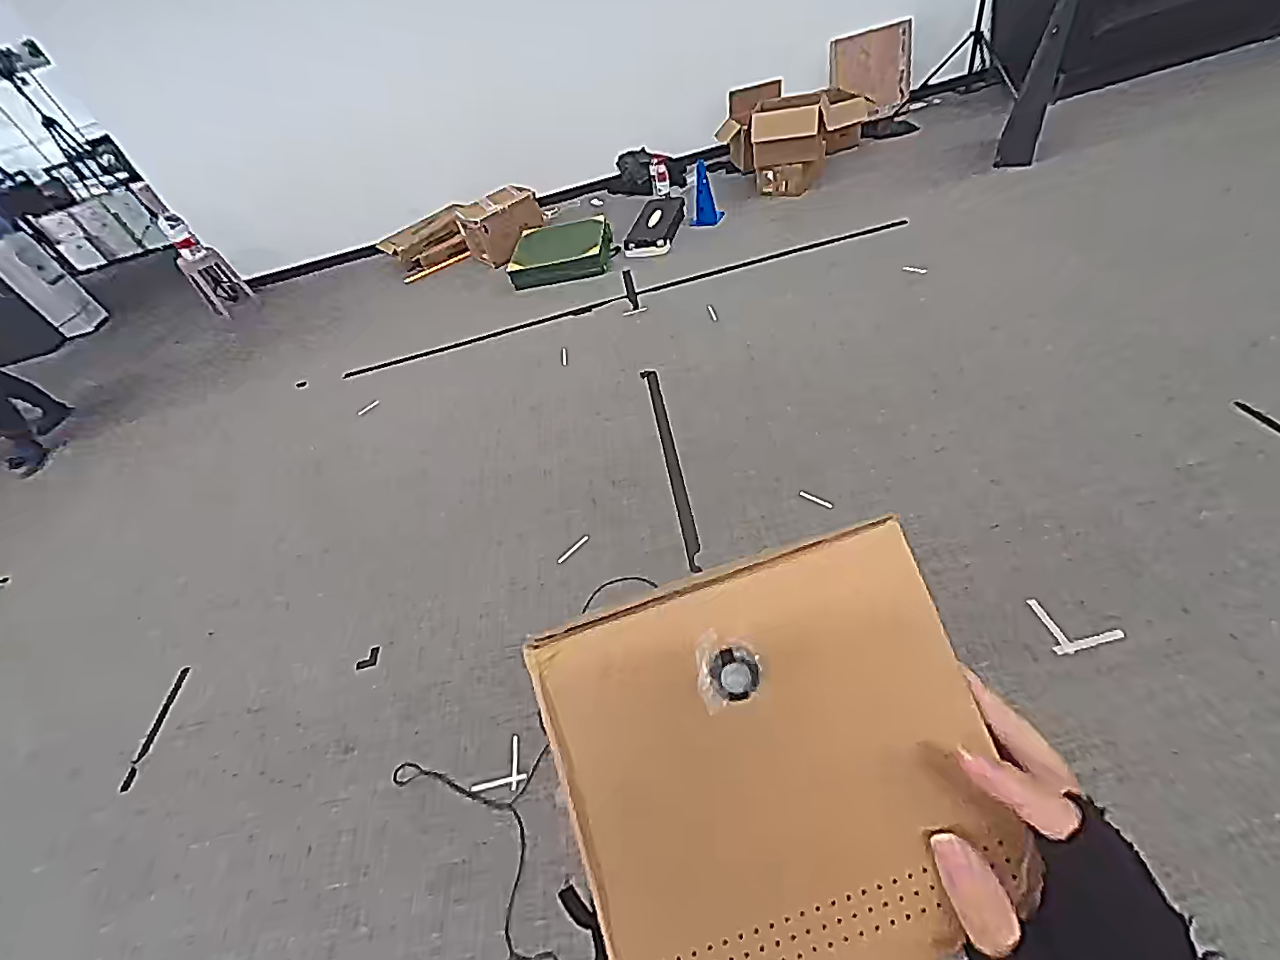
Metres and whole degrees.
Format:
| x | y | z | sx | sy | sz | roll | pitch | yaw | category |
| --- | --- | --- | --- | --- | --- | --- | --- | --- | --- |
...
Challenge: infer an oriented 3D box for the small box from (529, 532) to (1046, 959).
| x | y | z | sx | sy | sz | roll | pitch | yaw | category |
| --- | --- | --- | --- | --- | --- | --- | --- | --- | --- |
| 0.062 | 0.142 | 0.299 | 0.179 | 0.168 | 0.176 | -19 | 79 | -1 | small box |
